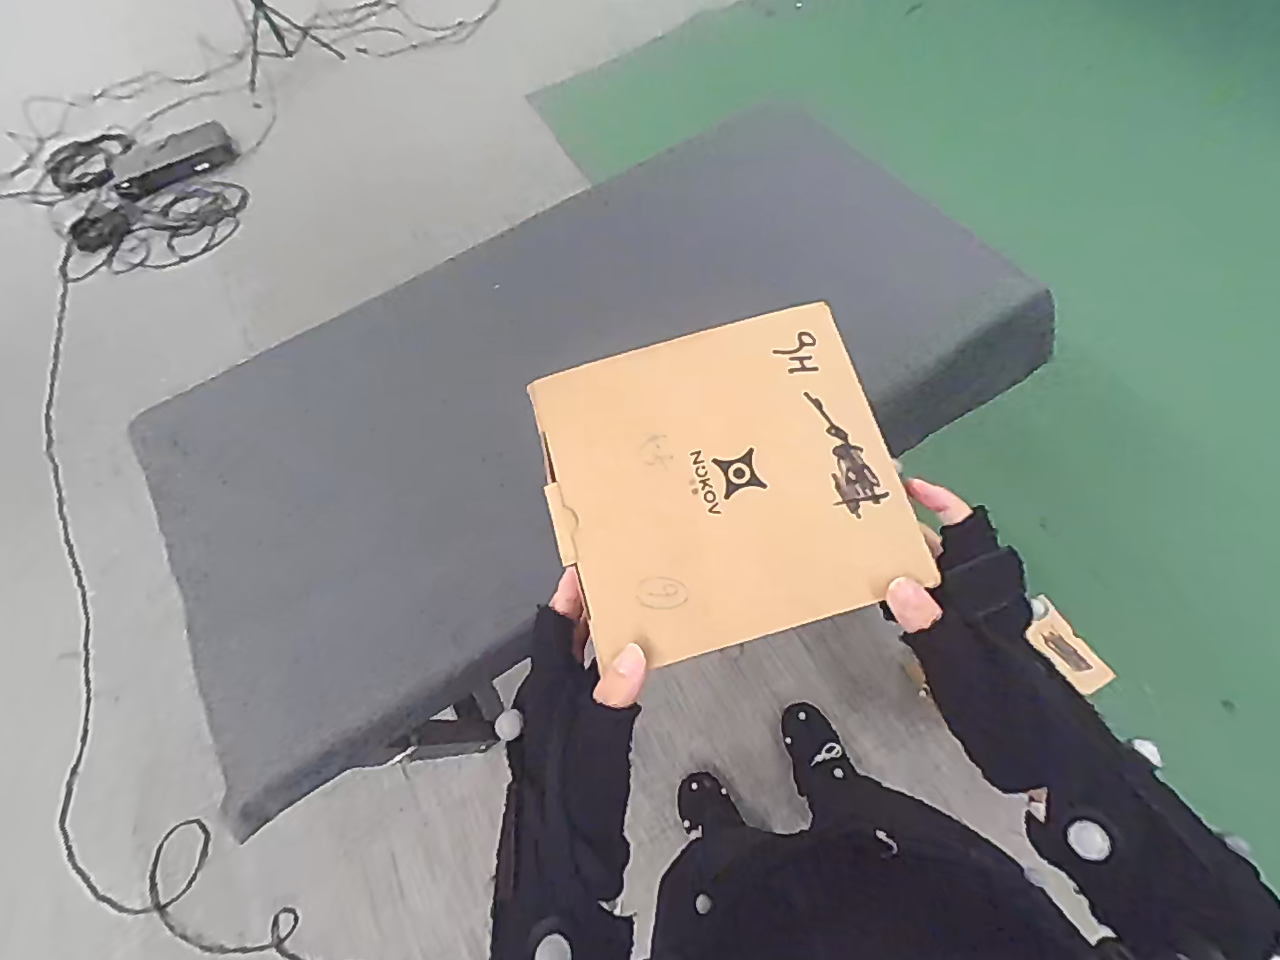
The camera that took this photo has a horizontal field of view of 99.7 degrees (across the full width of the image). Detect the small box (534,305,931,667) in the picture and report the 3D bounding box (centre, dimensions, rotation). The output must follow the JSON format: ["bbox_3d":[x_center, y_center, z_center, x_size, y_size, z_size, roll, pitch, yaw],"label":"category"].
[{"bbox_3d":[0.047,0.017,0.363,0.179,0.176,0.168,-15,76,-1],"label":"small box"}]

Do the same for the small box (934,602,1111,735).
[{"bbox_3d":[0.698,0.355,1.014,0.179,0.176,0.168,-27,64,-7],"label":"small box"}]

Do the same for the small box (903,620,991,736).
[{"bbox_3d":[0.708,0.427,1.162,0.179,0.176,0.168,-29,65,-7],"label":"small box"}]
